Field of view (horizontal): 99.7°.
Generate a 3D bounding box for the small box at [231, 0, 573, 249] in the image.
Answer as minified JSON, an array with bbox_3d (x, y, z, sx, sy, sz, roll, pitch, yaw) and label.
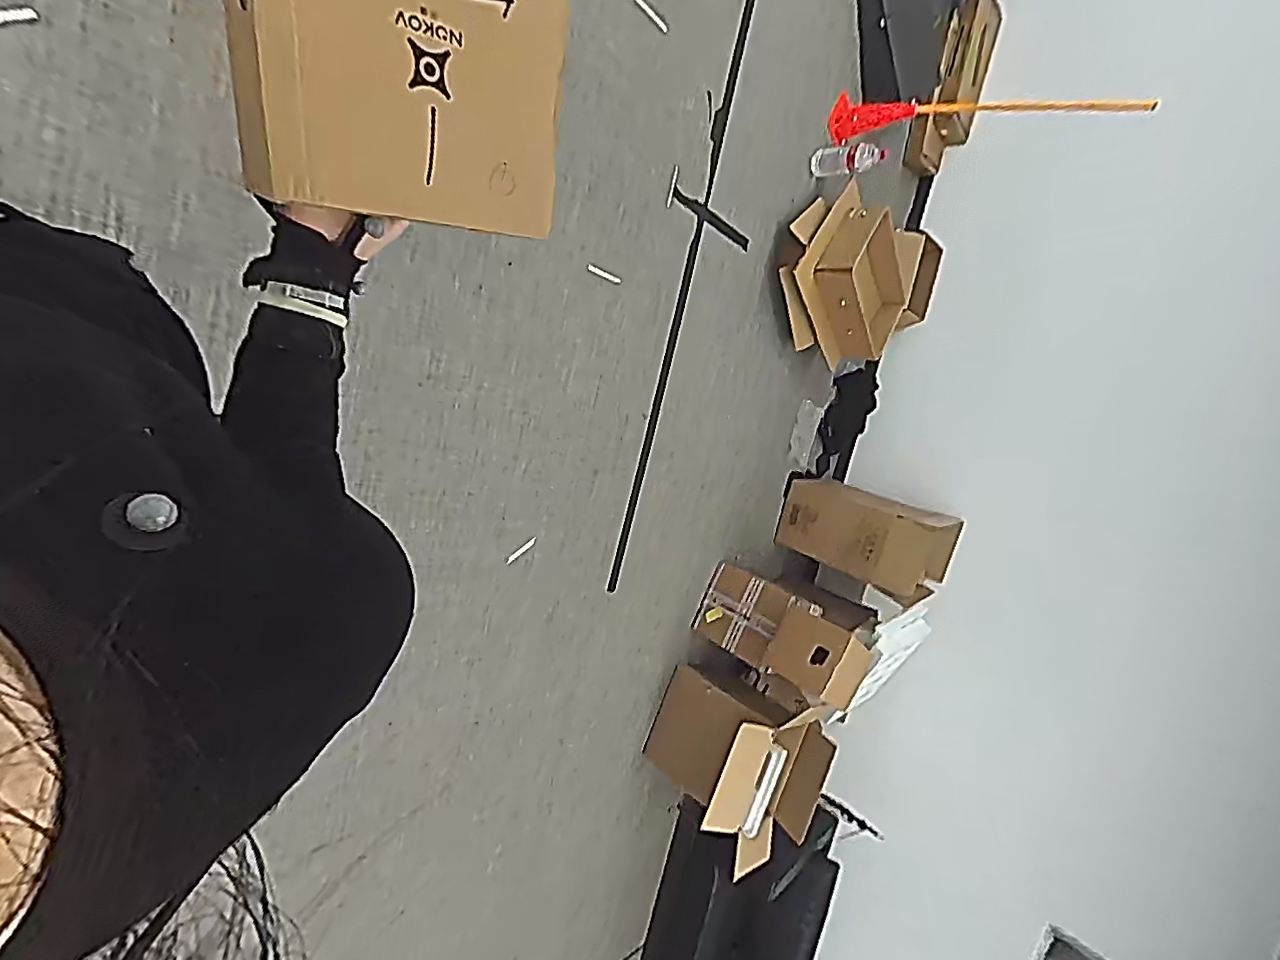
[{"bbox_3d":[-0.164,-0.268,0.365,0.168,0.176,0.179,-9,120,-37],"label":"small box"}]
